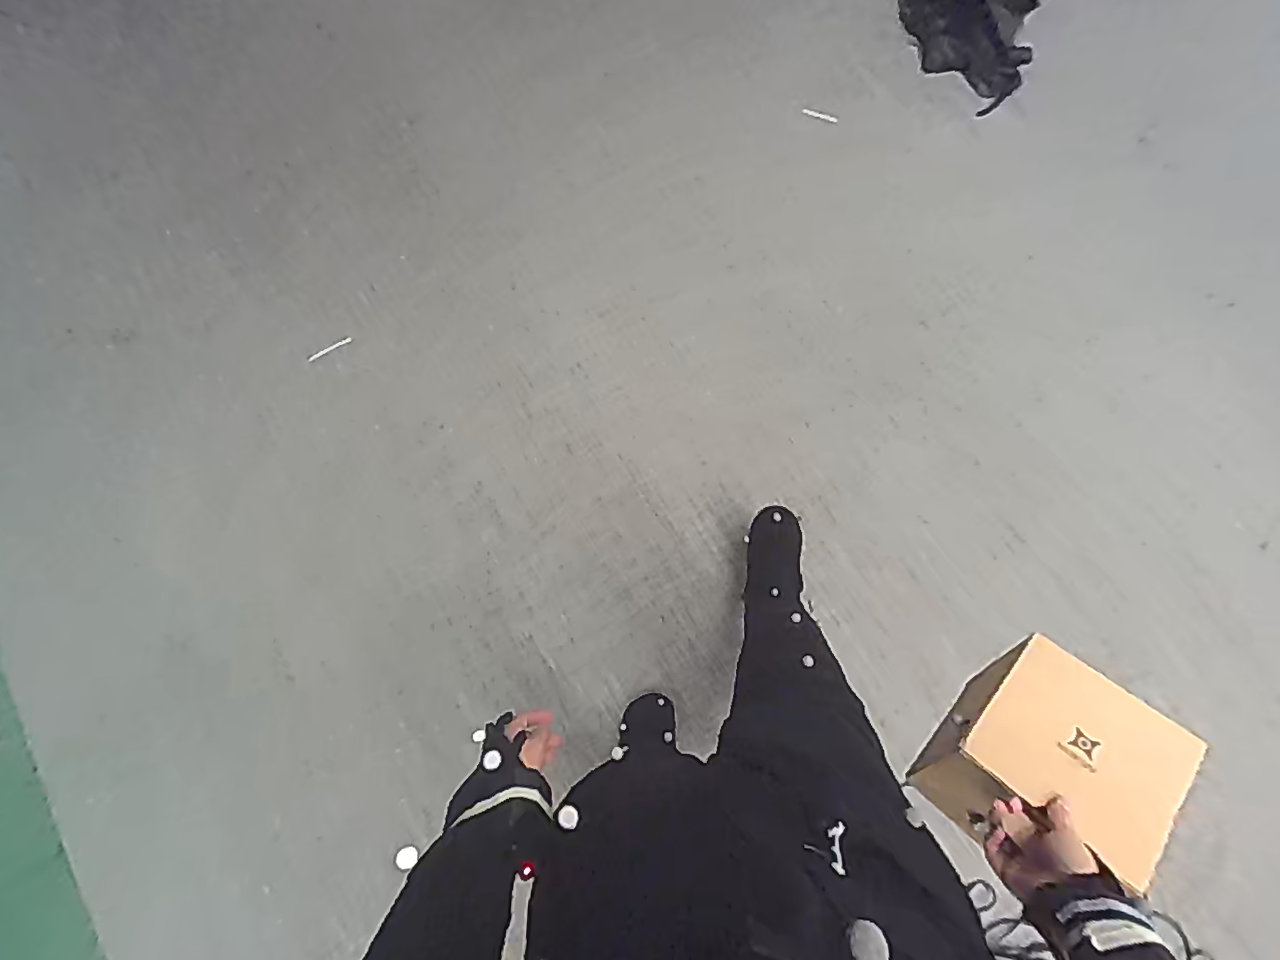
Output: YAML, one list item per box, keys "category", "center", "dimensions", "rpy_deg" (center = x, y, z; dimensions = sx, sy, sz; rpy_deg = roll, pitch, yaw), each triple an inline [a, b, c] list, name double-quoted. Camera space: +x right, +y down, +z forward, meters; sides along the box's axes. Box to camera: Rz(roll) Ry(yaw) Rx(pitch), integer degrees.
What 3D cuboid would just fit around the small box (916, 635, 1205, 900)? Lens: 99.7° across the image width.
- category: "small box"
  center: [0.438, 0.312, 0.592]
  dimensions: [0.179, 0.176, 0.168]
  rpy_deg: [-39, 59, -24]
